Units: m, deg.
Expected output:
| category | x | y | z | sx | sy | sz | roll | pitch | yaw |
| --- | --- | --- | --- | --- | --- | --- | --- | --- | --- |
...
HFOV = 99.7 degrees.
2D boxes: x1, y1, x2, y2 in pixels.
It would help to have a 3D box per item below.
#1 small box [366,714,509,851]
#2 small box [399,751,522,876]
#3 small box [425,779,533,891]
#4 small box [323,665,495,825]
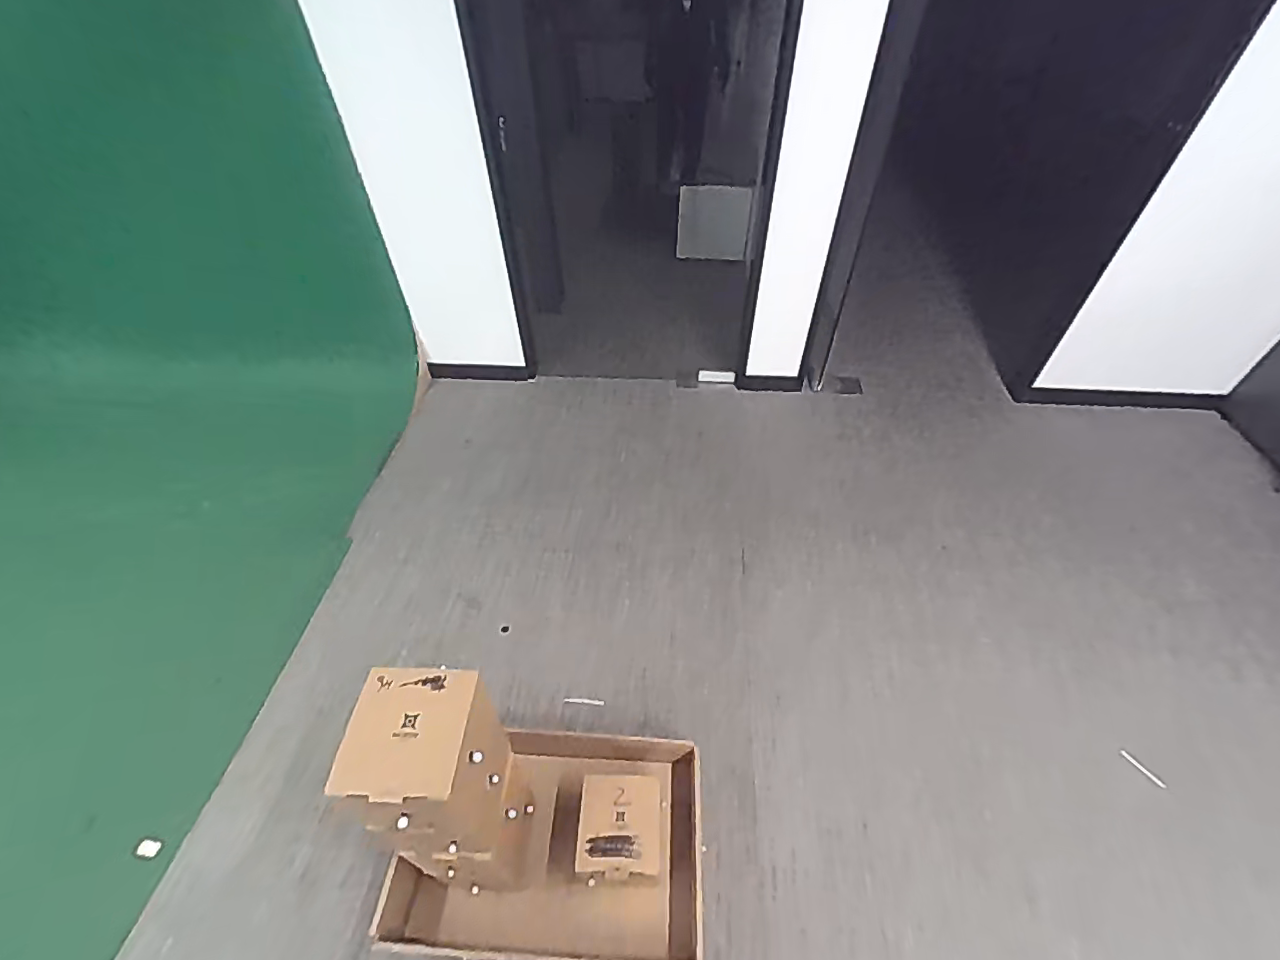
| category | x | y | z | sx | sy | sz | roll | pitch | yaw |
| --- | --- | --- | --- | --- | --- | --- | --- | --- | --- |
| small box | -0.328 | 0.514 | 0.921 | 0.168 | 0.176 | 0.179 | 3 | 46 | 0 |
| small box | -0.329 | 0.633 | 1.035 | 0.168 | 0.176 | 0.179 | 3 | 46 | 2 |
| small box | -0.330 | 0.747 | 1.151 | 0.168 | 0.176 | 0.179 | 4 | 46 | 3 |
| small box | -0.324 | 0.398 | 0.806 | 0.168 | 0.176 | 0.179 | 3 | 47 | 0 |
